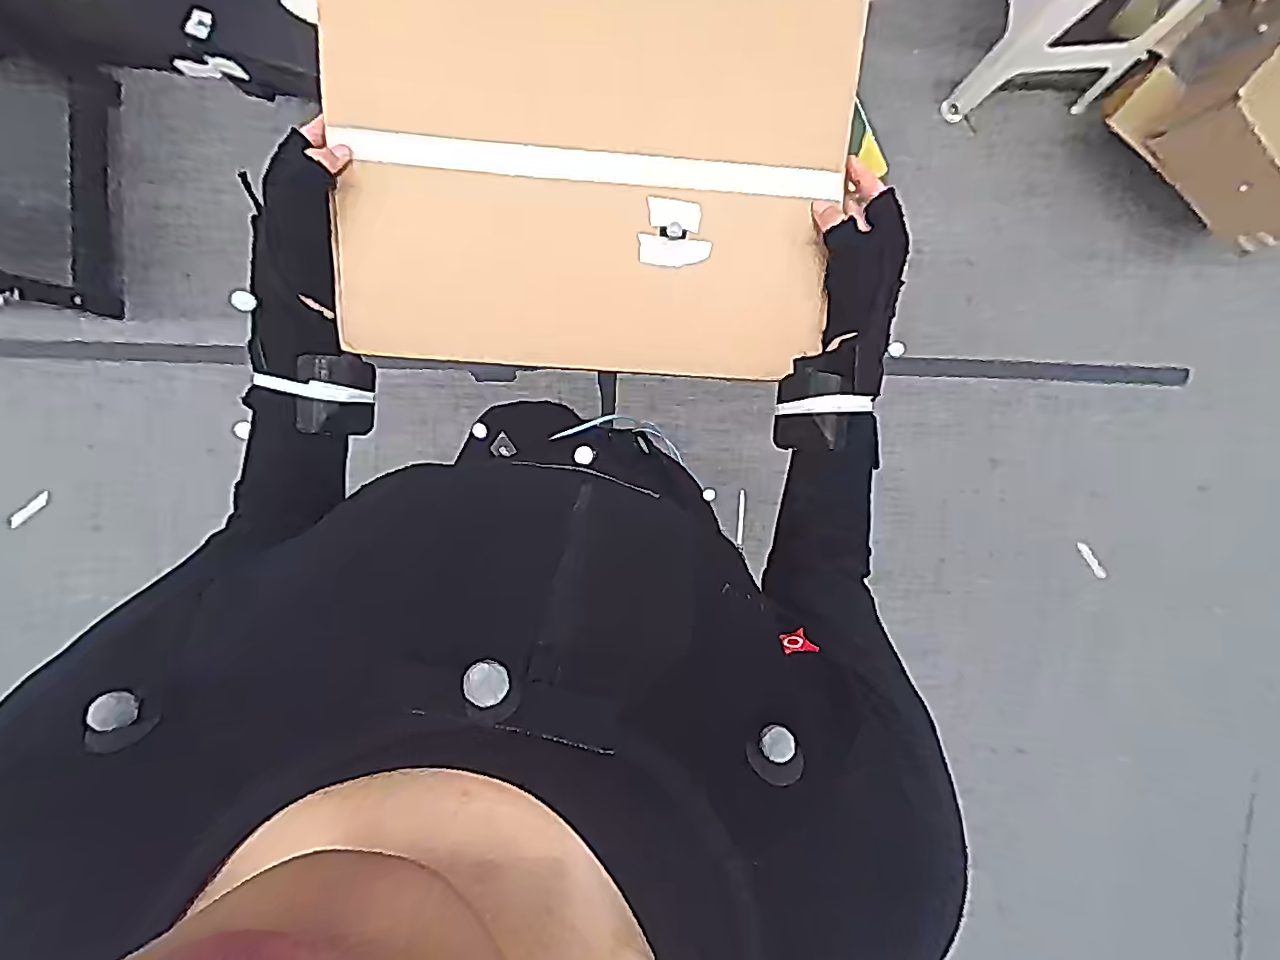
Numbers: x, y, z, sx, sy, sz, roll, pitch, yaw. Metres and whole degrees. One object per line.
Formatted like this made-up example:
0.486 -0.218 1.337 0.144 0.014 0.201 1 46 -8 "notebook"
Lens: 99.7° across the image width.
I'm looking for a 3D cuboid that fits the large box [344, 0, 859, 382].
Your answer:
-0.043 -0.279 0.588 0.408 0.320 0.320 3 104 -5 "large box"
